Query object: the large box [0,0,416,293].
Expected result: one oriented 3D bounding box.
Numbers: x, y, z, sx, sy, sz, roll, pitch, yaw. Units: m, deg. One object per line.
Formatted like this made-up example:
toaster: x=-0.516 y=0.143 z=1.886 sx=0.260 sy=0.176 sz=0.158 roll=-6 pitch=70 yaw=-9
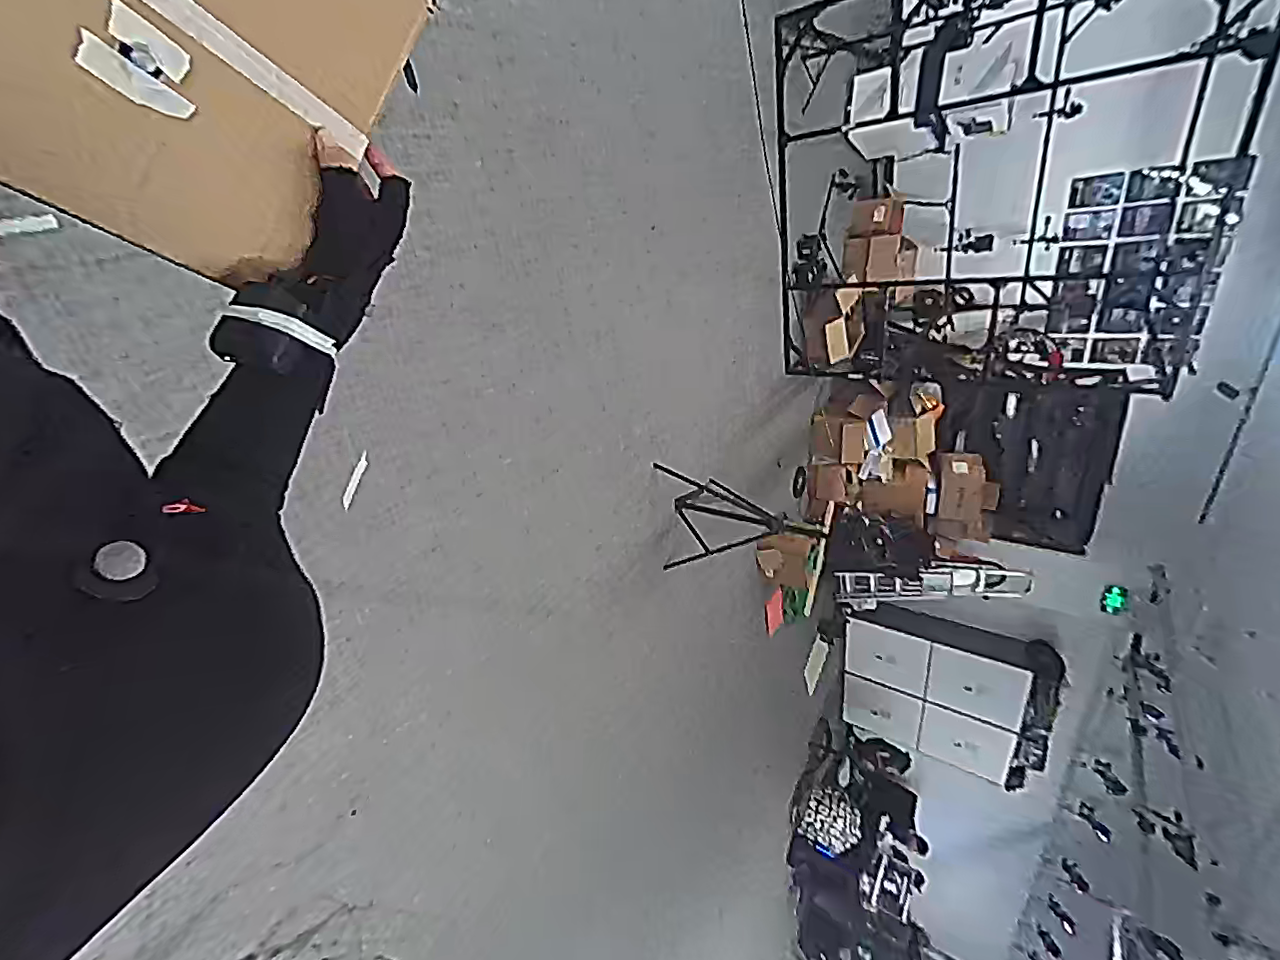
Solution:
large box: x=-0.473 y=-0.400 z=0.410 sx=0.408 sy=0.320 sz=0.320 roll=24 pitch=93 yaw=-54
